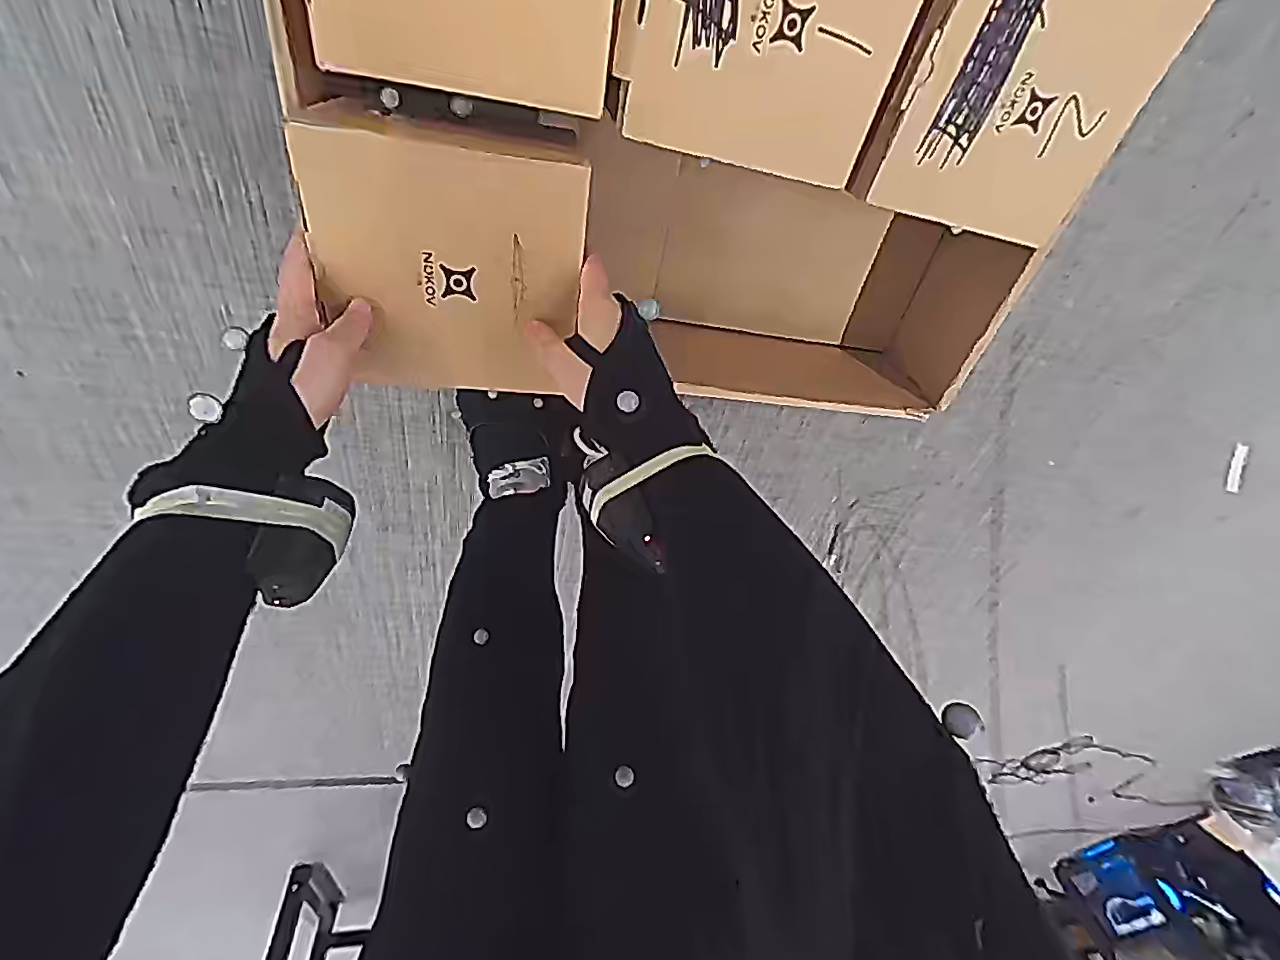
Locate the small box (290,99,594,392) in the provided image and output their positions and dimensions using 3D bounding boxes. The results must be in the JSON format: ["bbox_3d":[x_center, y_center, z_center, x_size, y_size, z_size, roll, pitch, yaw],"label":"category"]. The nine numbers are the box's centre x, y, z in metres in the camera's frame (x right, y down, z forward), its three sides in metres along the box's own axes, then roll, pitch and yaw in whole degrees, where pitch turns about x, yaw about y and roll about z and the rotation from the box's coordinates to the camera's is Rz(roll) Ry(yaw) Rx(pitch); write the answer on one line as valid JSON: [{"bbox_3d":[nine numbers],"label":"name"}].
[{"bbox_3d":[-0.137,-0.187,0.429,0.179,0.176,0.168,1,130,-12],"label":"small box"}]
